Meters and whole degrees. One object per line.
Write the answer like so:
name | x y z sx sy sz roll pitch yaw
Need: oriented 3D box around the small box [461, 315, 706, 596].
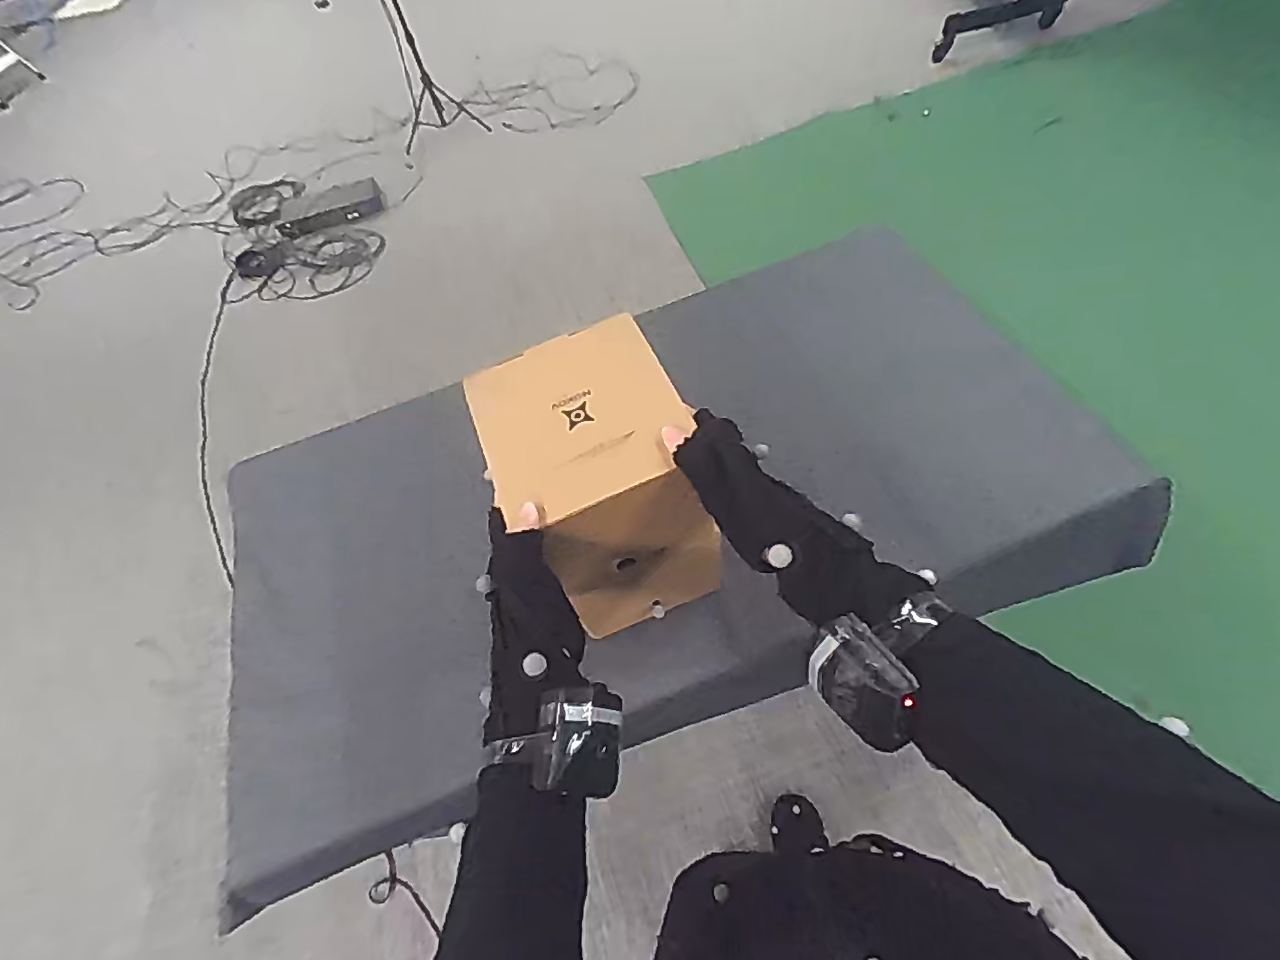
small box | -0.046 -0.016 0.517 0.168 0.176 0.179 -23 61 -3

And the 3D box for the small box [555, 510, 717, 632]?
small box | -0.018 0.063 0.658 0.179 0.176 0.168 -21 59 -4
